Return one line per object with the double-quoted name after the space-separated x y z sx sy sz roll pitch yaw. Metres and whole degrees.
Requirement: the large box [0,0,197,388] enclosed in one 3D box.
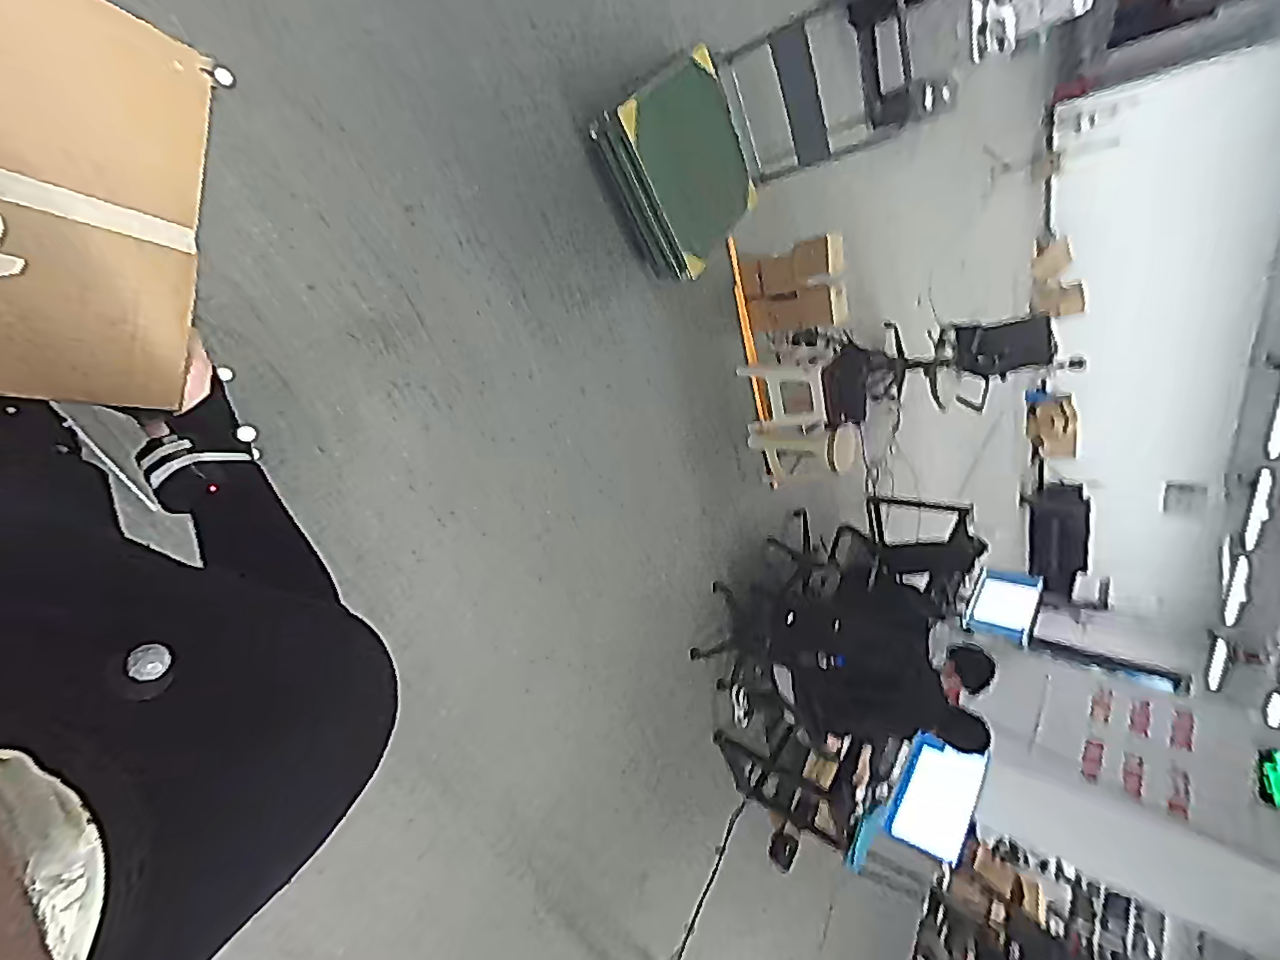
-0.643 -0.262 0.398 0.408 0.320 0.320 -3 108 -60 "large box"
